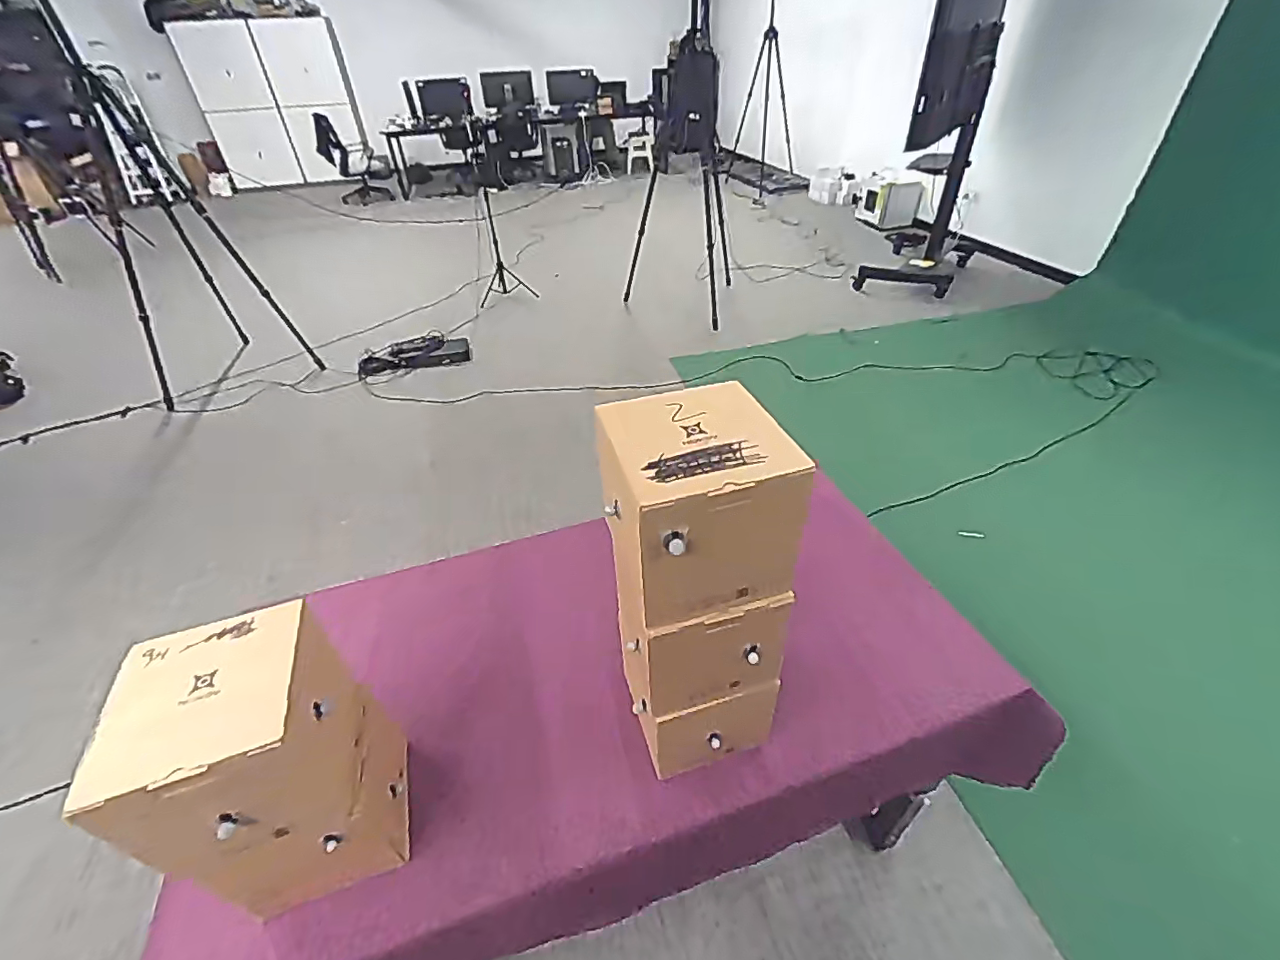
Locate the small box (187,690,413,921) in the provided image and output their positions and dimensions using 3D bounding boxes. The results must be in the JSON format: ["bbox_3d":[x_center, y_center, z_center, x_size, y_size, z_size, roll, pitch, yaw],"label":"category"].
[{"bbox_3d":[-0.400,0.404,0.675,0.179,0.176,0.168,-14,39,-14],"label":"small box"}]

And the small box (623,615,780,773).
[{"bbox_3d":[0.081,0.289,0.771,0.168,0.176,0.179,-13,39,-11],"label":"small box"}]

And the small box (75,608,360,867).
[{"bbox_3d":[-0.414,0.274,0.574,0.168,0.176,0.179,-14,40,-14],"label":"small box"}]

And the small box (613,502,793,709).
[{"bbox_3d":[0.070,0.159,0.672,0.168,0.176,0.179,-12,39,-10],"label":"small box"}]
